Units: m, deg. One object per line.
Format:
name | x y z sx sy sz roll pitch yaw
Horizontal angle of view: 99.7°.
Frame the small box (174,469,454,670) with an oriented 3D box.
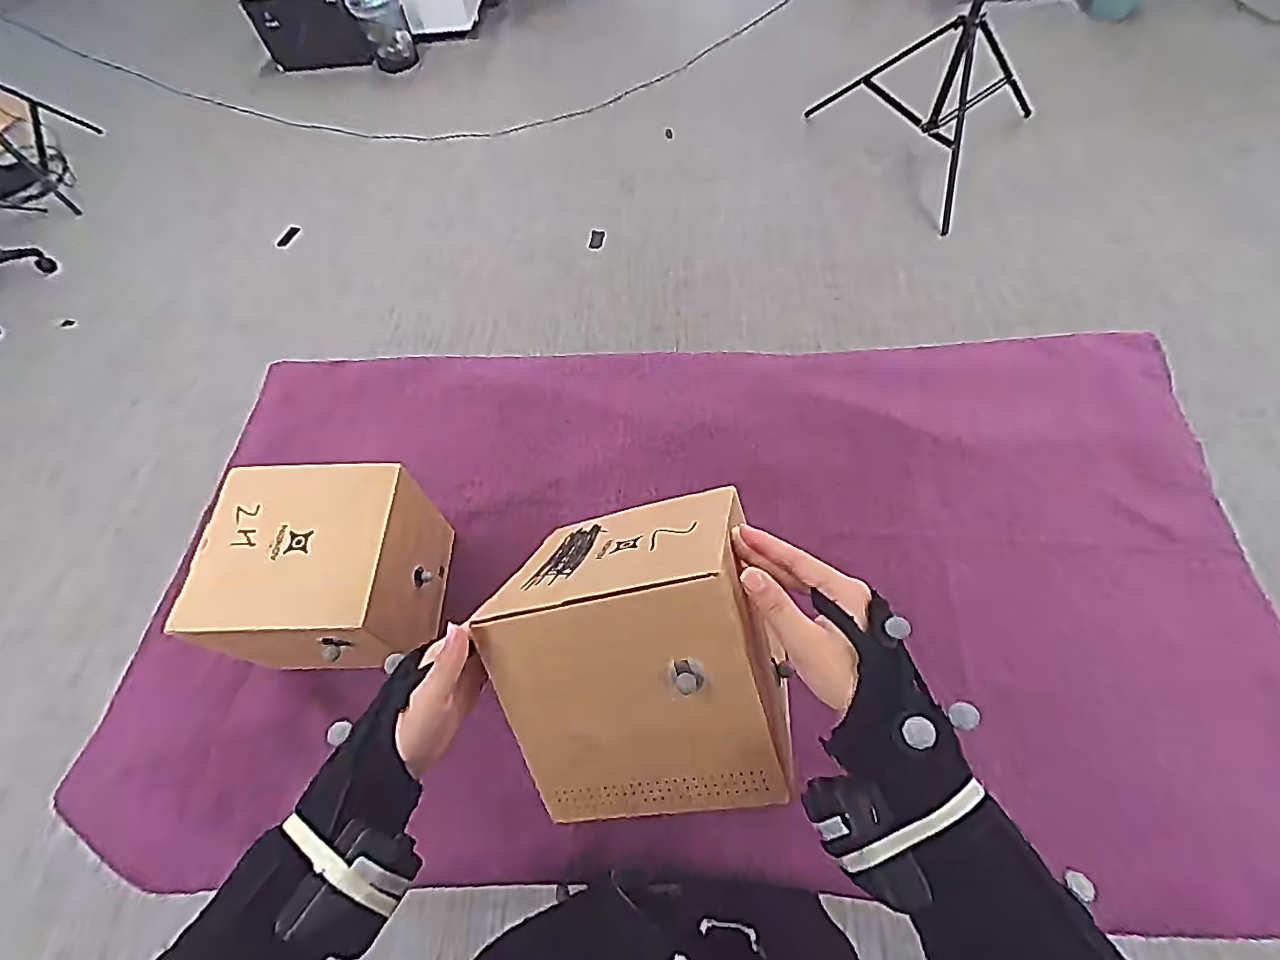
small box | -0.315 0.100 0.573 0.179 0.176 0.168 -1 60 2
